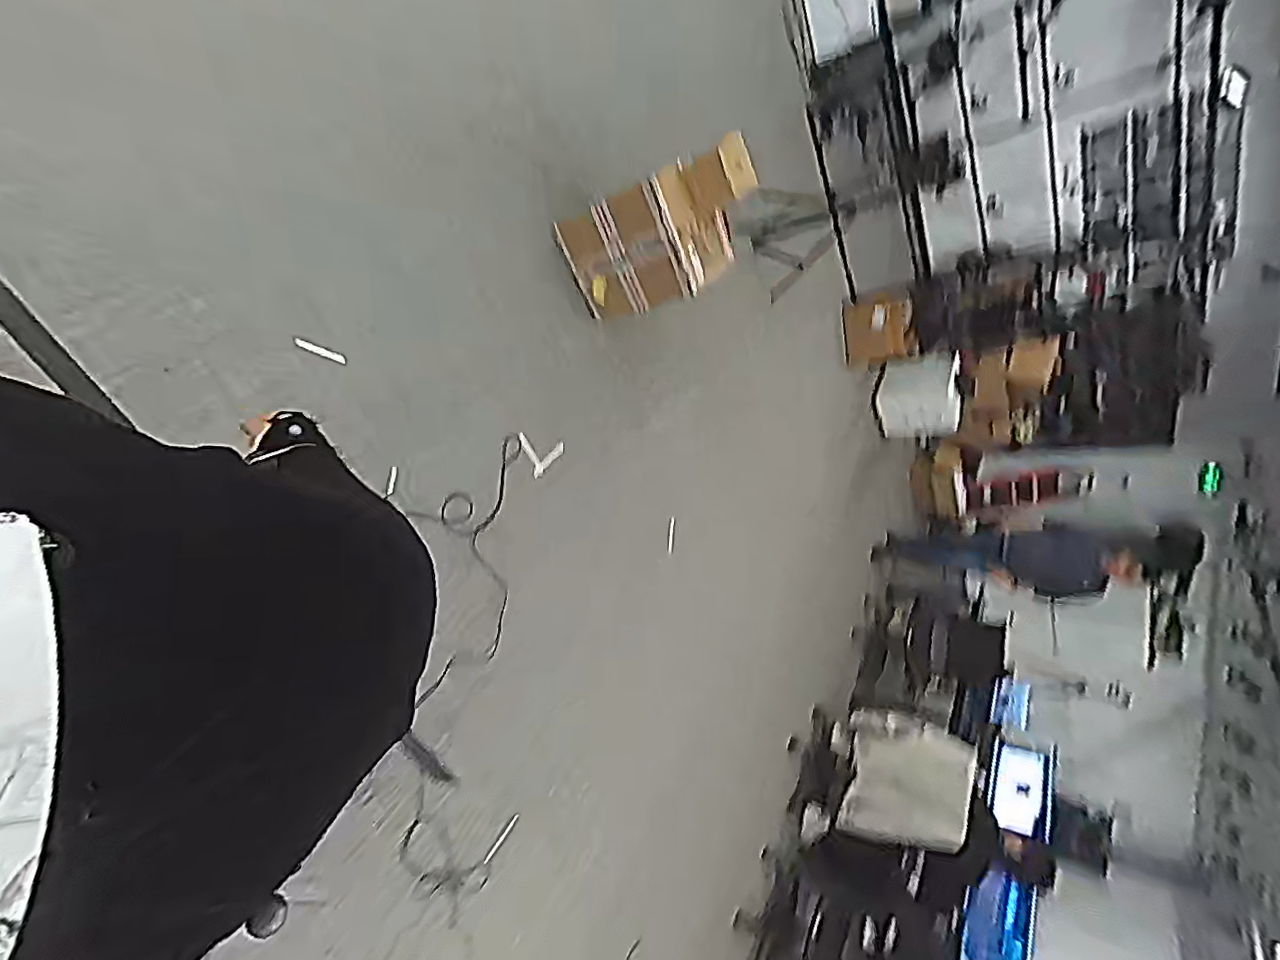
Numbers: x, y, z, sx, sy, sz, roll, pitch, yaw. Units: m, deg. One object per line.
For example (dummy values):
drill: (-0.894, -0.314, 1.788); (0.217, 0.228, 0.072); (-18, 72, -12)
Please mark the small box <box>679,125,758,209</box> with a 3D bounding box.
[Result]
small box: (0.260, -1.035, 1.794); (0.179, 0.176, 0.168); (-50, 123, -33)
